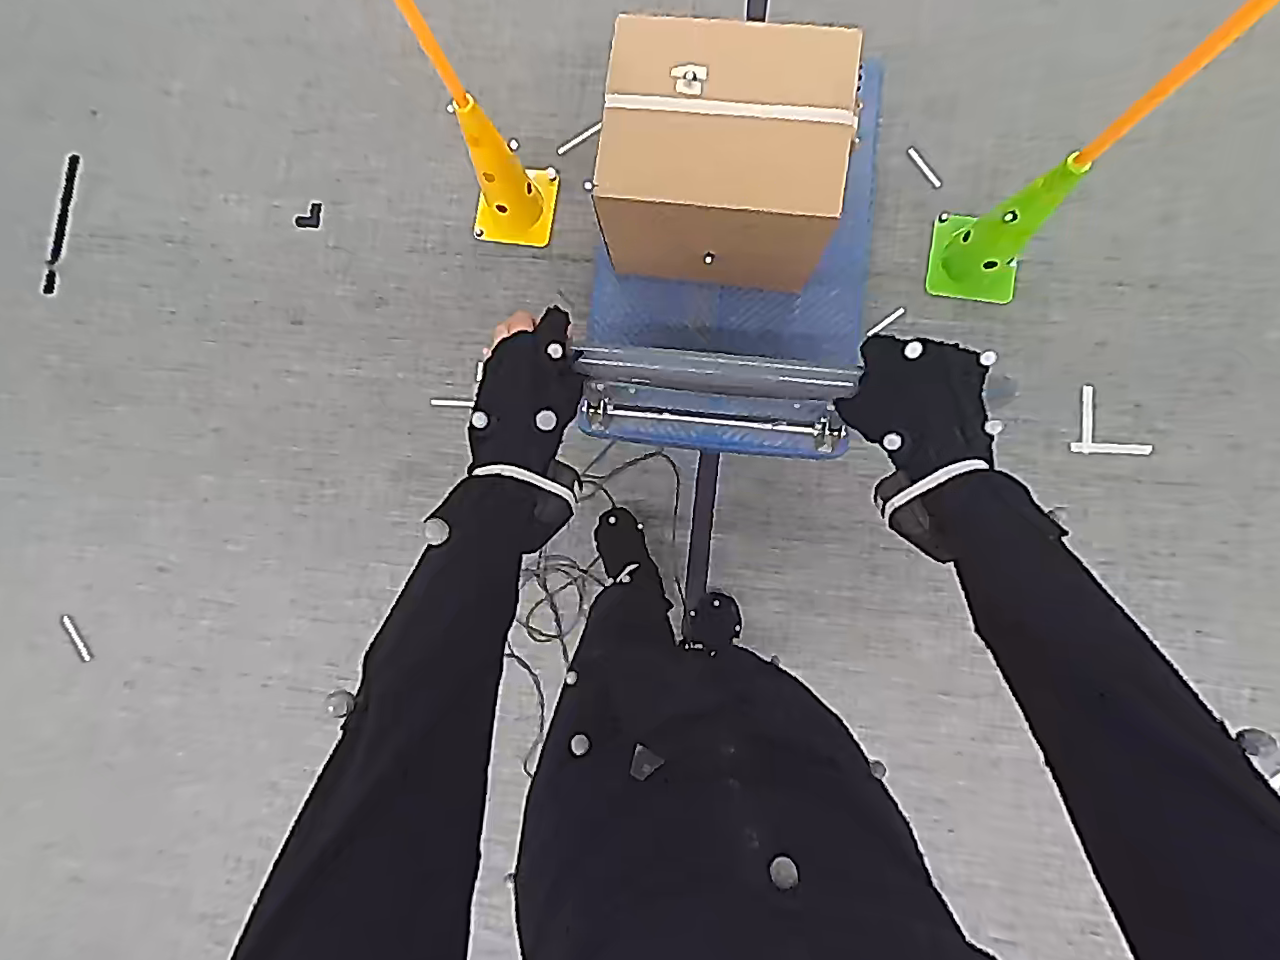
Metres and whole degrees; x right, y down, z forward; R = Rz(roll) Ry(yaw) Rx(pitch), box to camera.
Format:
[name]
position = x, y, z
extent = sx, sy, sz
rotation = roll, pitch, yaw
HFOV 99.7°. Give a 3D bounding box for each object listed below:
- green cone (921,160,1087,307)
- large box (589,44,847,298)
[green cone]
position = 0.777, -0.534, 1.133
extent = 0.202, 0.368, 0.200
rotation = 9, 87, 4
[large box]
position = 0.143, -0.566, 1.045
extent = 0.408, 0.320, 0.320
rotation = 7, 88, 6
